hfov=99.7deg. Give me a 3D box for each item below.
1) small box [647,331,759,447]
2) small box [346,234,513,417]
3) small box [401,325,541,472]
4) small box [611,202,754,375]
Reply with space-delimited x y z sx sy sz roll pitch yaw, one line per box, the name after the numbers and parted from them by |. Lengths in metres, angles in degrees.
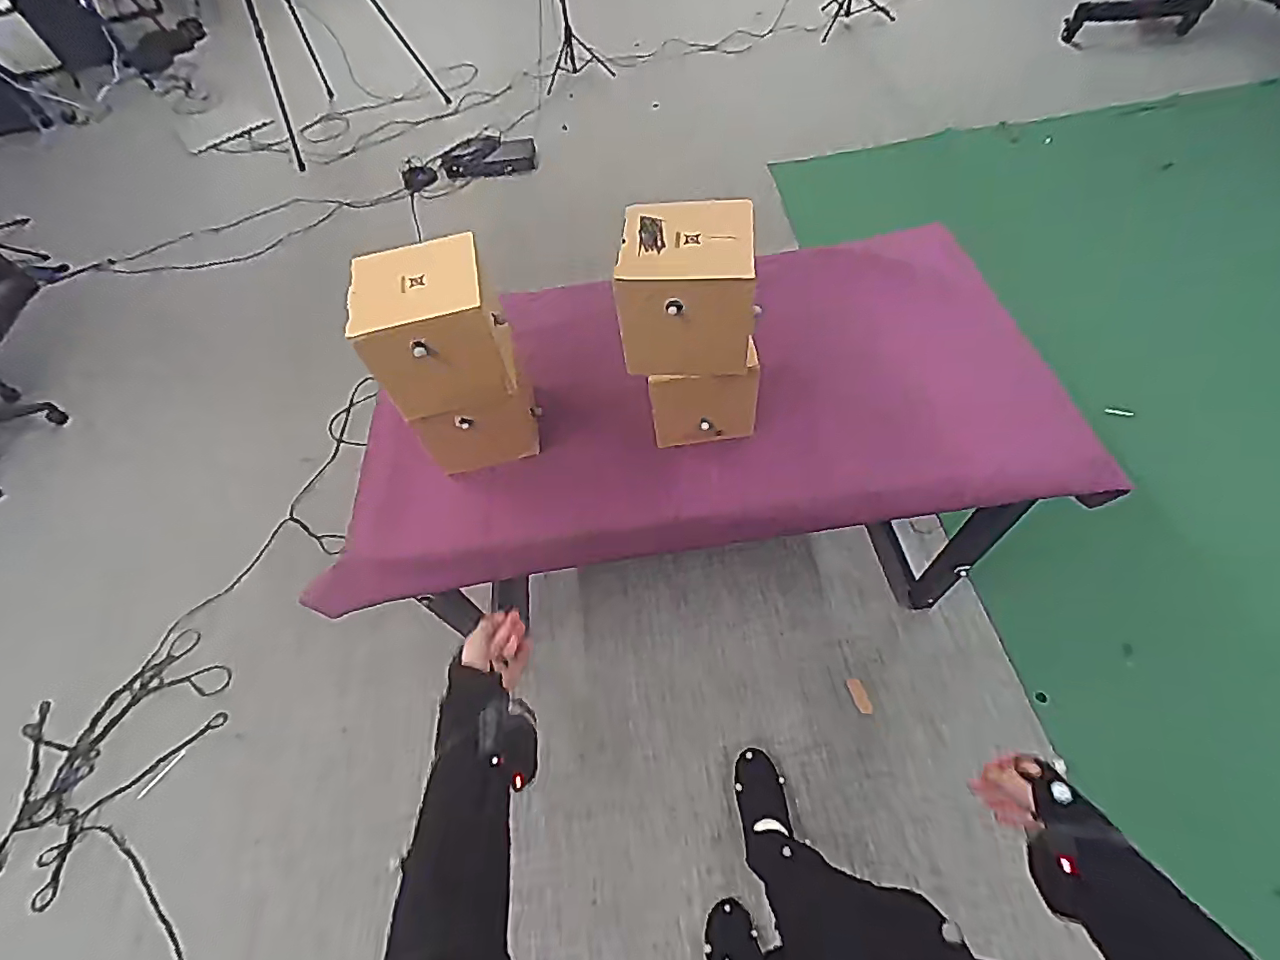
0.095 -0.179 0.902 0.168 0.176 0.179 -7 57 3 | small box
-0.291 -0.217 0.783 0.179 0.176 0.168 -14 58 -1 | small box
-0.280 -0.133 0.921 0.179 0.176 0.168 -12 57 -1 | small box
0.067 -0.264 0.763 0.179 0.176 0.168 2 57 8 | small box
